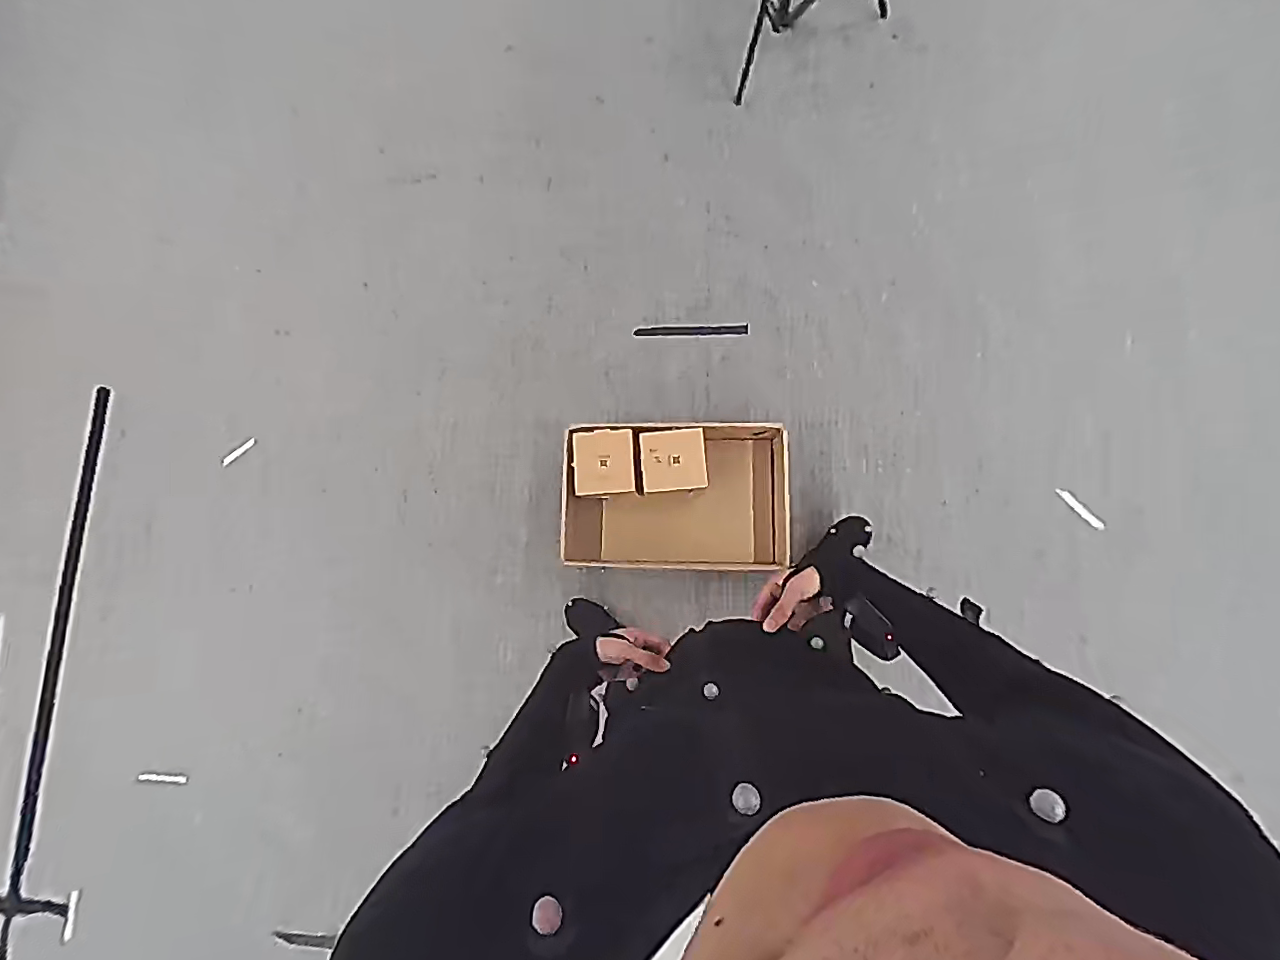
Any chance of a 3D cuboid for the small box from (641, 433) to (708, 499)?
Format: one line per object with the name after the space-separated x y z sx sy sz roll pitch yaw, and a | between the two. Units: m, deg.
0.095 -0.035 1.531 0.179 0.176 0.168 -2 82 3 | small box
